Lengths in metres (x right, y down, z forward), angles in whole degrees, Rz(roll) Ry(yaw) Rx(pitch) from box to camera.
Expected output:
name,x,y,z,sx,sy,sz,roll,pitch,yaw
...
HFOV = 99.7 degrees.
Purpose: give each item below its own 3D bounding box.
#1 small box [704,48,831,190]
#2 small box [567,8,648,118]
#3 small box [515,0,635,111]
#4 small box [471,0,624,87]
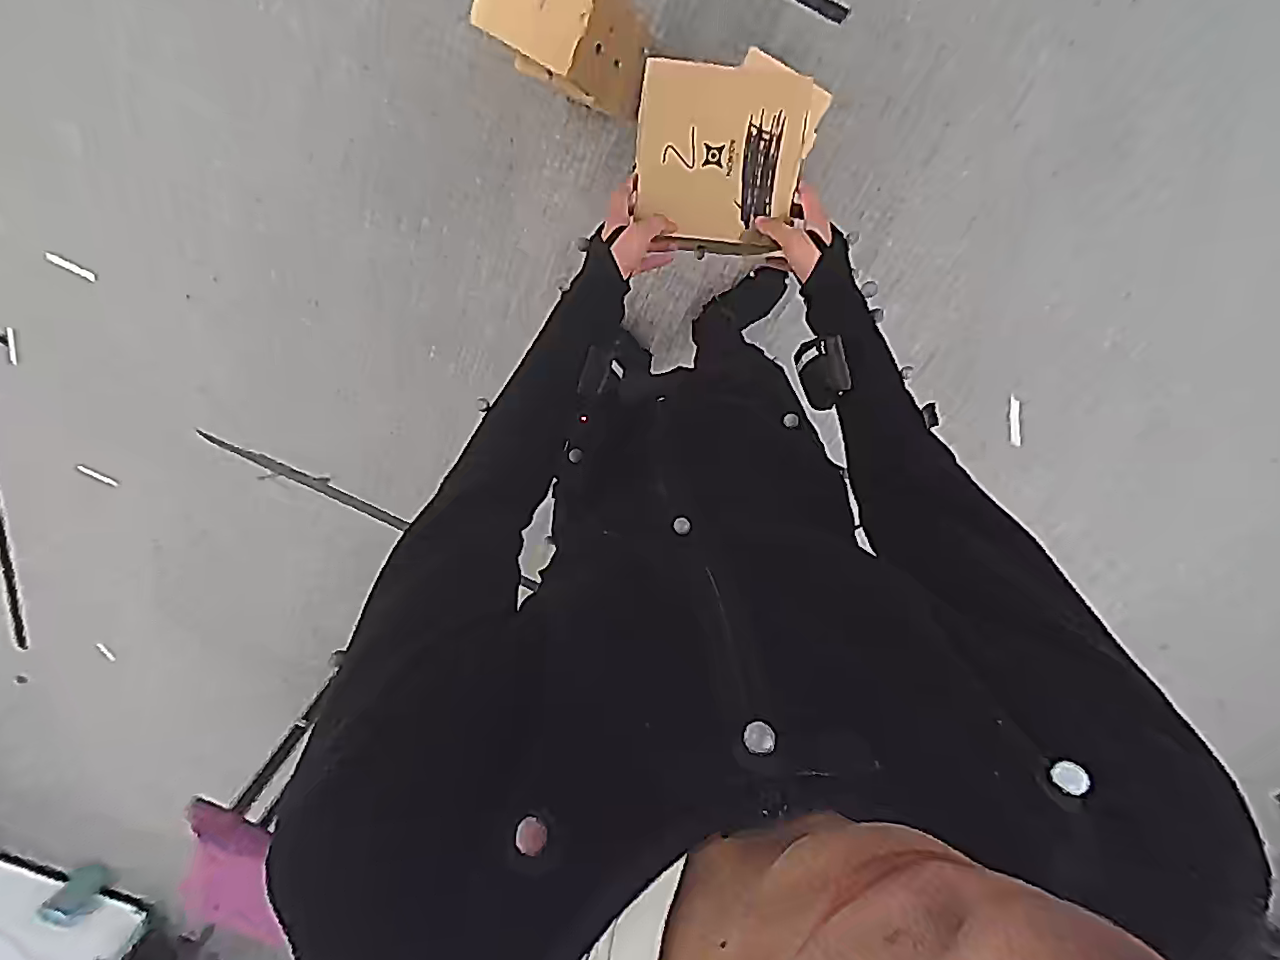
name,x,y,z,sx,sy,sz,roll,pitch,yaw
small box,0.243,-0.701,1.067,0.179,0.176,0.168,28,118,-8
small box,-0.088,-0.926,1.183,0.168,0.176,0.179,21,119,-3
small box,-0.118,-0.849,1.041,0.168,0.176,0.179,23,119,-3
small box,-0.145,-0.787,0.893,0.179,0.176,0.168,27,118,-6
